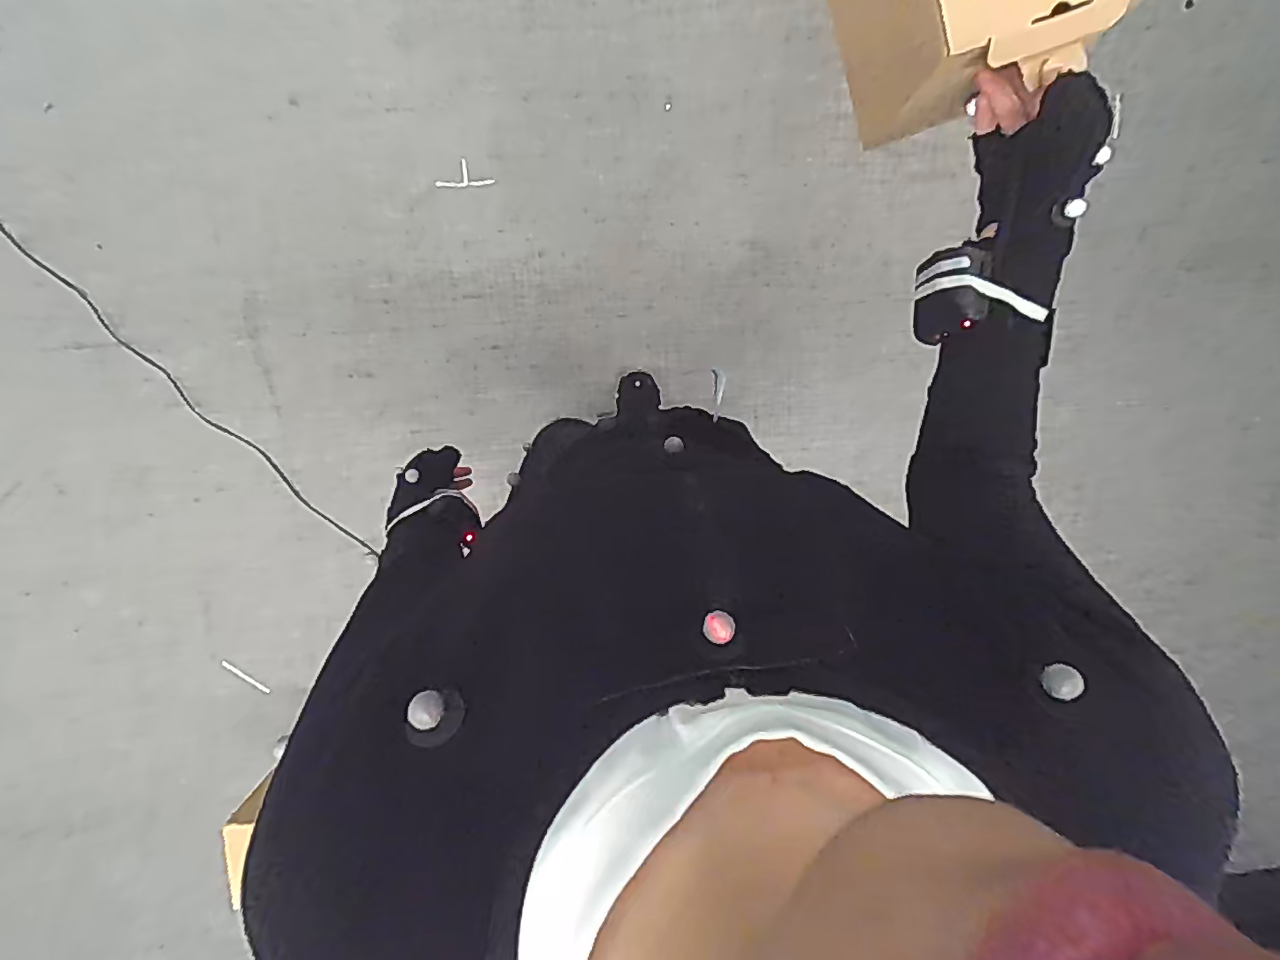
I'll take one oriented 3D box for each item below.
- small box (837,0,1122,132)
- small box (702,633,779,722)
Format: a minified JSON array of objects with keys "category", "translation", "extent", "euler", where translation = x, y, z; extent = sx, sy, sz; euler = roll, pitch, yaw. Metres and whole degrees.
[{"category":"small box","translation":[0.280,-0.443,0.456],"extent":[0.168,0.176,0.179],"euler":[-17,100,5]},{"category":"small box","translation":[0.268,0.538,1.483],"extent":[0.168,0.176,0.179],"euler":[2,98,-7]}]
